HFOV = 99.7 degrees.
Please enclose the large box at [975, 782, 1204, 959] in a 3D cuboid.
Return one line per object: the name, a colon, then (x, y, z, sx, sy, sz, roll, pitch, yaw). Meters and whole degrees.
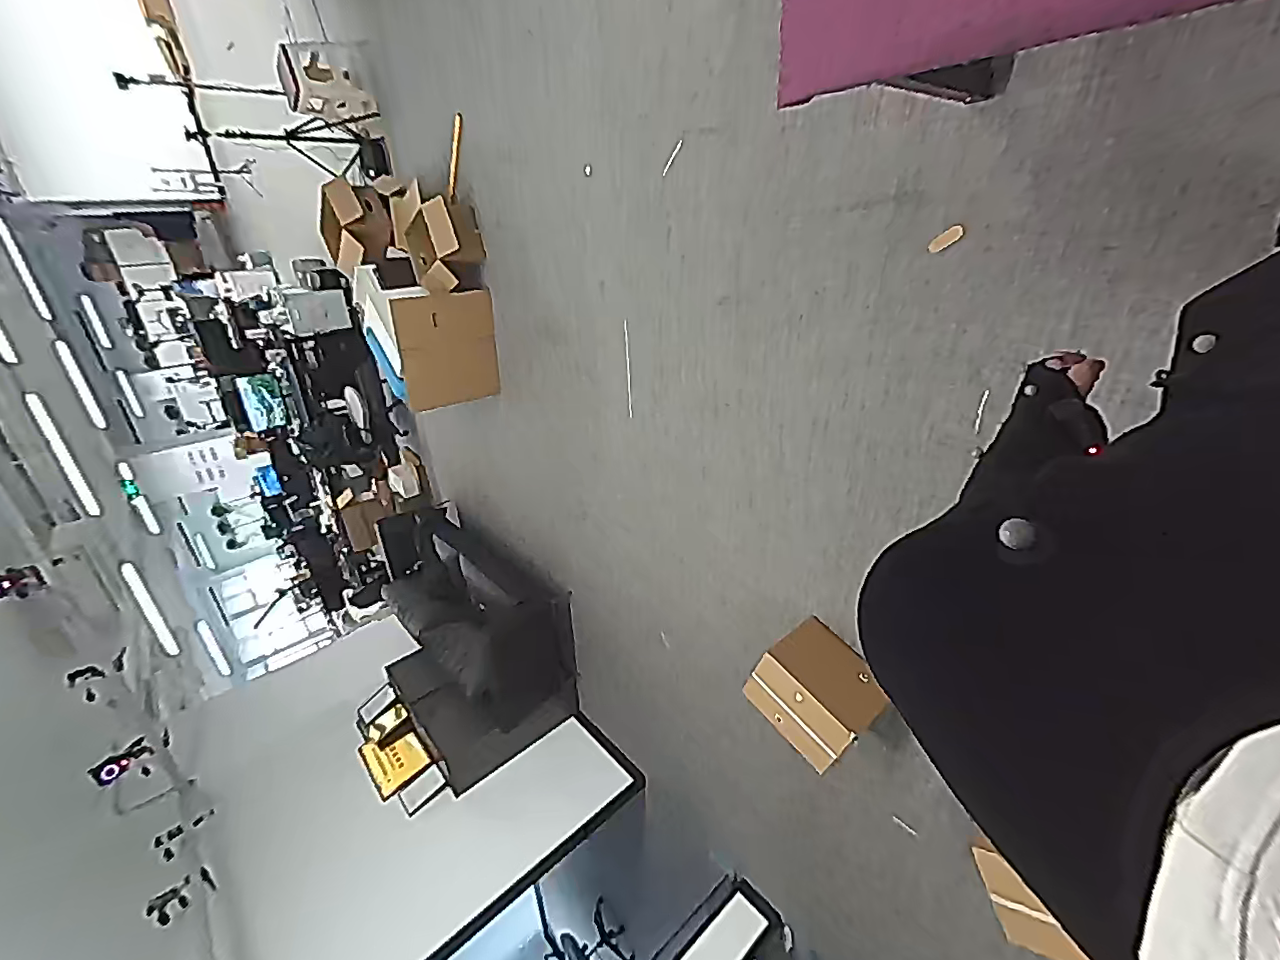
large box: (1.277, 1.138, 1.551, 0.408, 0.320, 0.320, -21, 92, 53)
